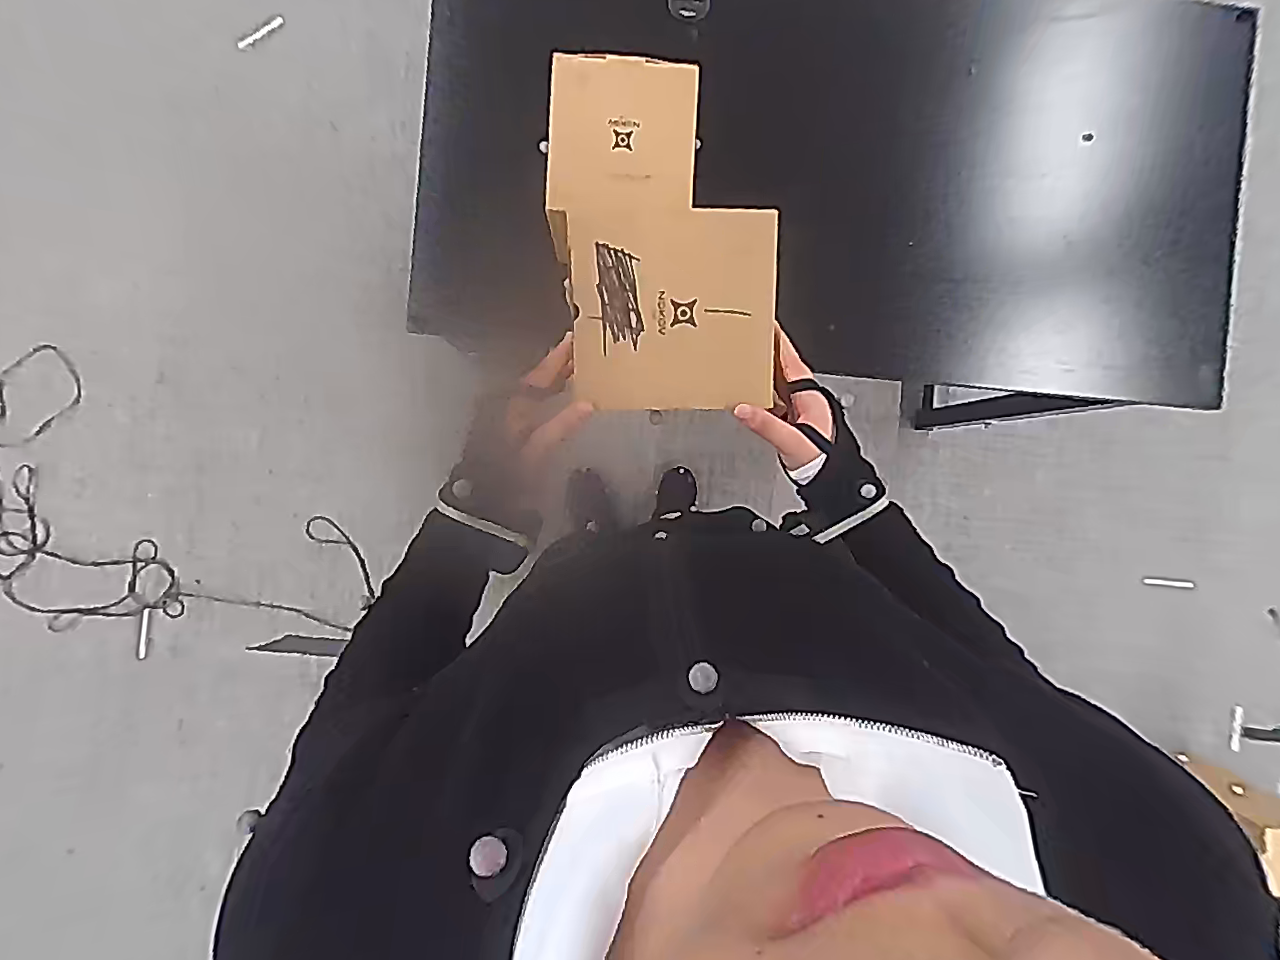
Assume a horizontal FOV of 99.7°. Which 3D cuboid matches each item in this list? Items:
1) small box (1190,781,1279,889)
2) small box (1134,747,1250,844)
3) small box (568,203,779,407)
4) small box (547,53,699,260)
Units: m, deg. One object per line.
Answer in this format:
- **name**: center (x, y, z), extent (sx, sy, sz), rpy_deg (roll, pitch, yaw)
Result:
- **small box**: center (1.552, 0.887, 1.365), extent (0.179, 0.176, 0.168), rpy_deg (-2, 92, -2)
- **small box**: center (1.551, 0.886, 1.528), extent (0.168, 0.176, 0.179), rpy_deg (-1, 92, -3)
- **small box**: center (0.025, -0.156, 0.533), extent (0.179, 0.176, 0.168), rpy_deg (-1, 98, -3)
- **small box**: center (-0.023, -0.385, 0.683), extent (0.168, 0.176, 0.179), rpy_deg (2, 92, -2)
